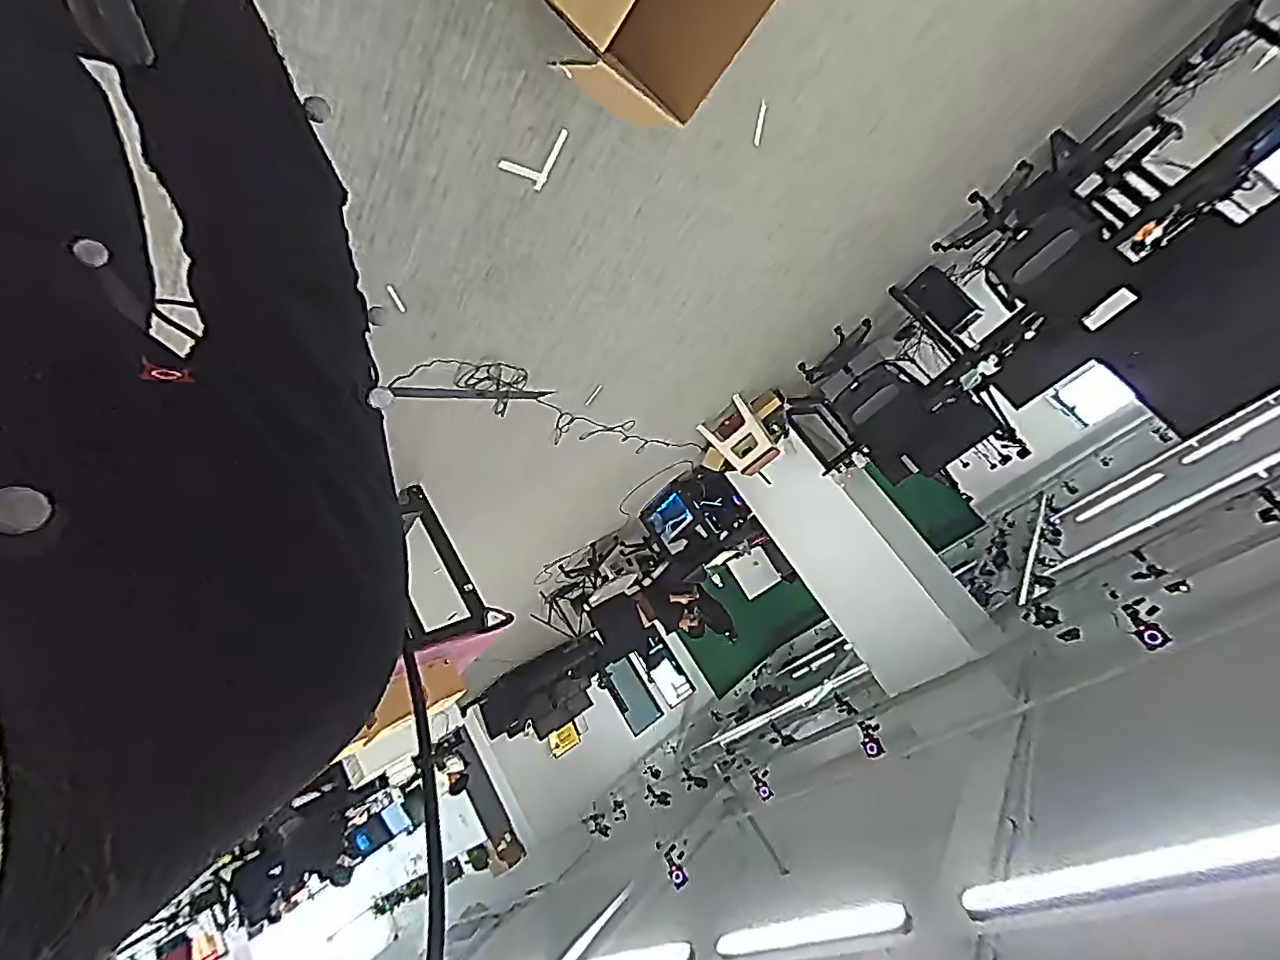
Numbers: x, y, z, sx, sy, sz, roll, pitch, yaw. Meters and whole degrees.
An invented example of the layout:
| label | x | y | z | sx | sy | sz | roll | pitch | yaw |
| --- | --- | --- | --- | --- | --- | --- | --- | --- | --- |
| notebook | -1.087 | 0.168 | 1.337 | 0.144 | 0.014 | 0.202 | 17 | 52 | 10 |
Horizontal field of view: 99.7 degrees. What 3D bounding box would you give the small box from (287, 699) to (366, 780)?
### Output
| label | x | y | z | sx | sy | sz | roll | pitch | yaw |
| --- | --- | --- | --- | --- | --- | --- | --- | --- | --- |
| small box | -1.081 | 0.884 | 1.858 | 0.179 | 0.176 | 0.168 | -45 | 161 | 30 |
